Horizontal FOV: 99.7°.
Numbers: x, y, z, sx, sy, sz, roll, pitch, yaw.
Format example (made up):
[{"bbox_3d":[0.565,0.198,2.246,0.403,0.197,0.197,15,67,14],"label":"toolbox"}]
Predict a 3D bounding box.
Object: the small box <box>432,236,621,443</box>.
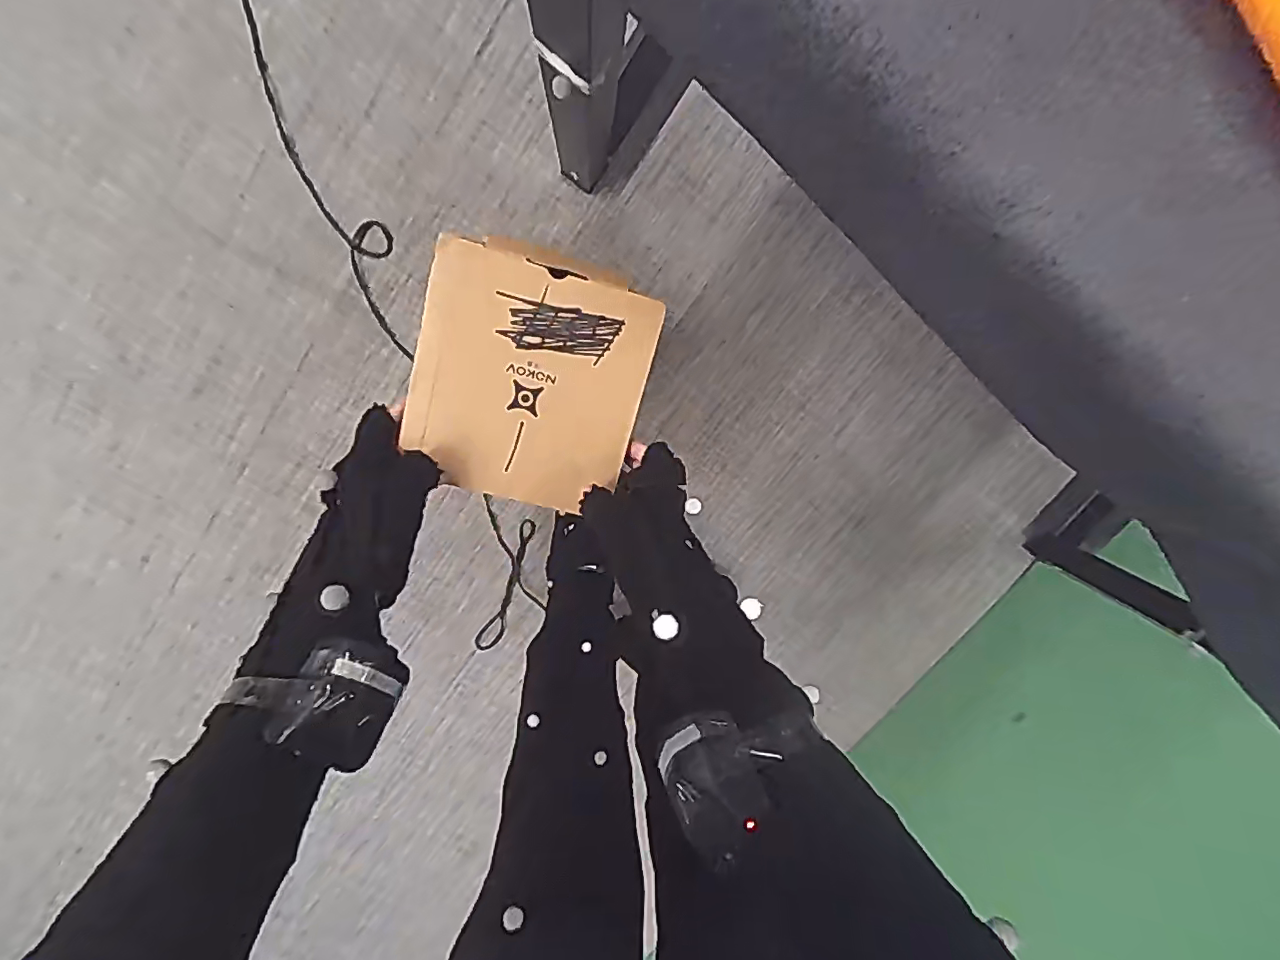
[{"bbox_3d":[-0.128,-0.169,0.658,0.168,0.176,0.179,19,105,-10],"label":"small box"}]
